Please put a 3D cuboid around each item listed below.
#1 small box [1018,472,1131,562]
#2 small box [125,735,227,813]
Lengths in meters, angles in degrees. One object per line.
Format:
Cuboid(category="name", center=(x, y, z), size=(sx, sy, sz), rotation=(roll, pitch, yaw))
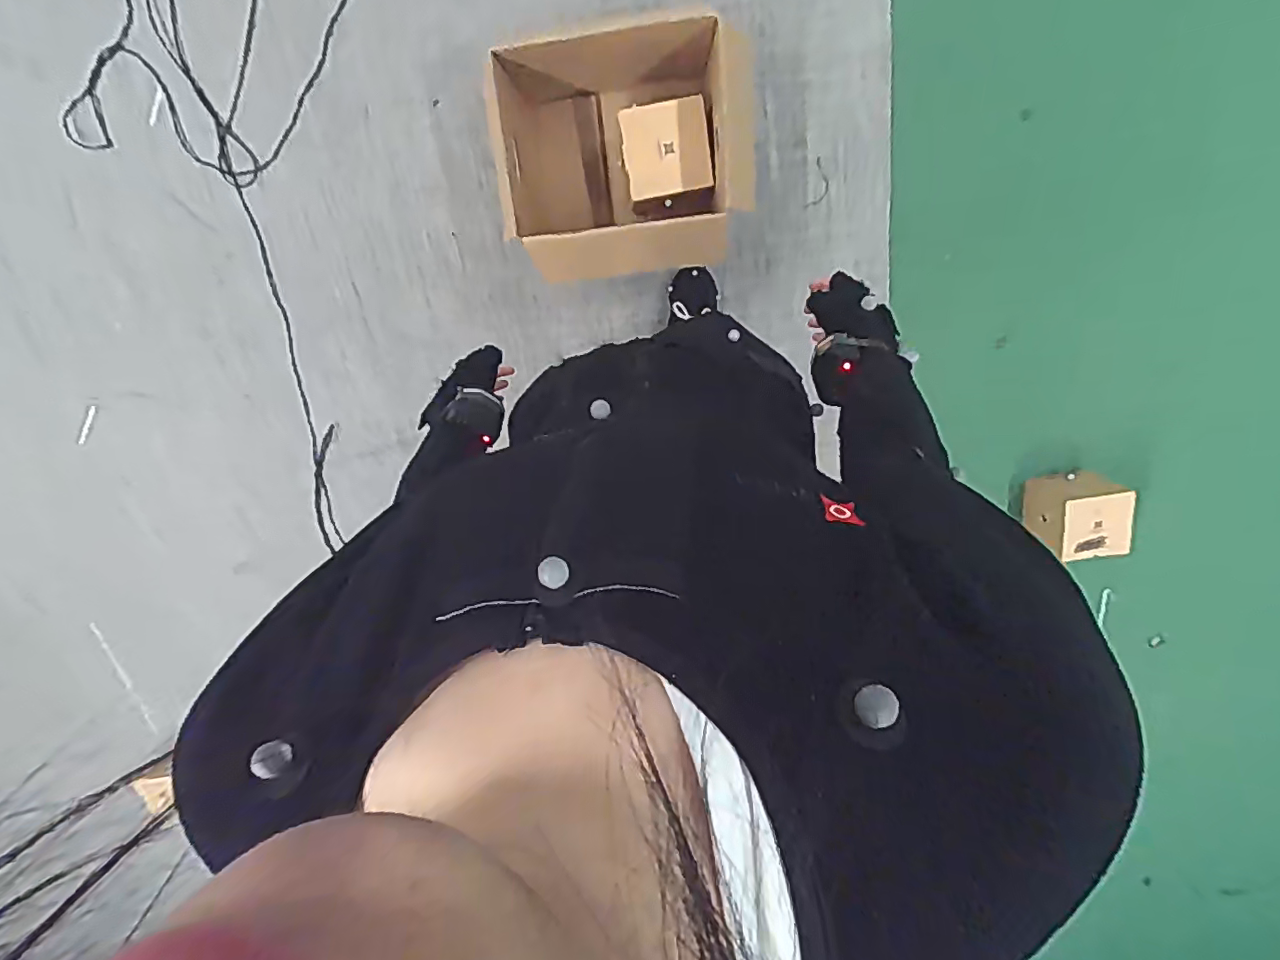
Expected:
Cuboid(category="small box", center=(1.142, 0.094, 1.437), size=(0.168, 0.176, 0.179), rotation=(-9, 109, 5))
Cuboid(category="small box", center=(-1.591, 1.010, 1.864), size=(0.179, 0.176, 0.168), rotation=(-8, 111, 4))
